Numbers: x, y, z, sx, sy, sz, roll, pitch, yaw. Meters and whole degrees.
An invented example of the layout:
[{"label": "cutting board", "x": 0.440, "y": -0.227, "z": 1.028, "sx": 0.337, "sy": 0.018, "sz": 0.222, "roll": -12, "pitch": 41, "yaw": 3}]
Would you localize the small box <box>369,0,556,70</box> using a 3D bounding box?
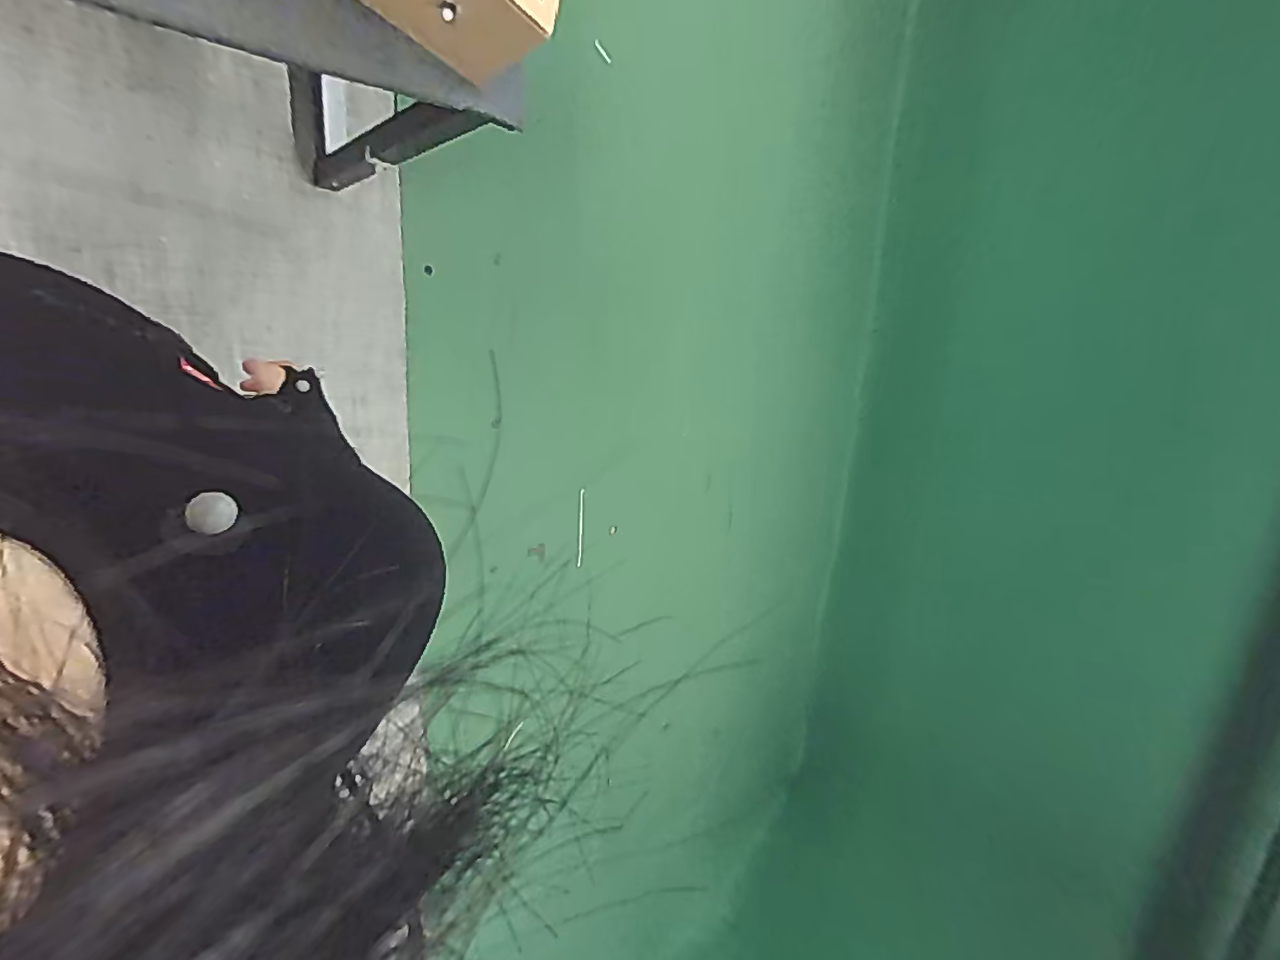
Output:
[{"label": "small box", "x": -0.209, "y": -0.627, "z": 0.630, "sx": 0.179, "sy": 0.176, "sz": 0.168, "roll": 10, "pitch": 91, "yaw": -47}]
